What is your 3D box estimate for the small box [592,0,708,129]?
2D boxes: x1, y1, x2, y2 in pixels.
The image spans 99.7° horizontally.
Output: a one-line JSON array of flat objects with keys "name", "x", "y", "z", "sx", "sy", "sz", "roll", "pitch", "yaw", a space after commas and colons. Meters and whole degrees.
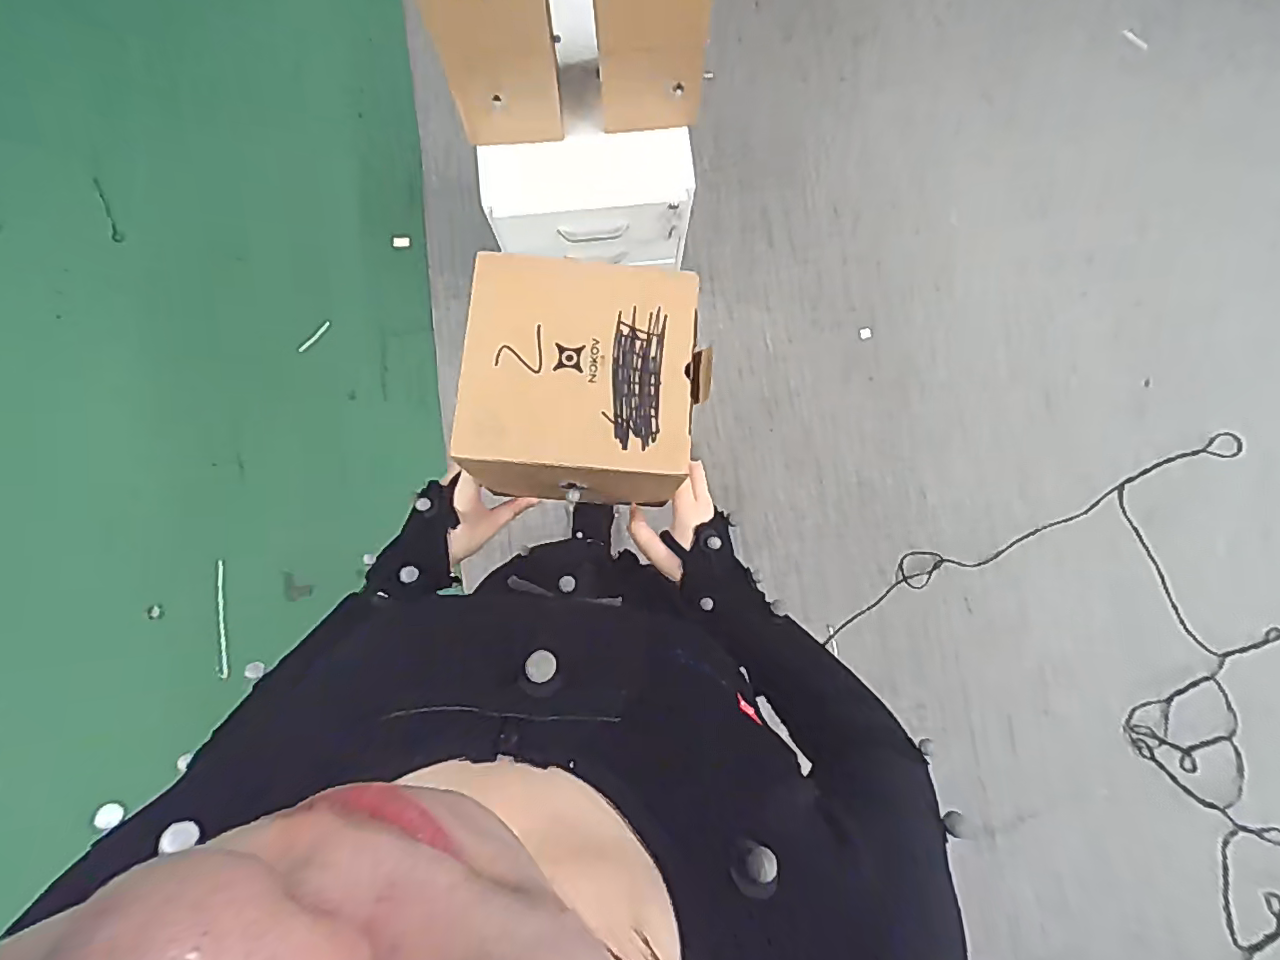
[{"name": "small box", "x": 0.013, "y": -0.741, "z": 0.928, "sx": 0.179, "sy": 0.176, "sz": 0.168, "roll": -6, "pitch": 84, "yaw": 0}]

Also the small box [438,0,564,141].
[{"name": "small box", "x": -0.231, "y": -0.709, "z": 0.917, "sx": 0.179, "sy": 0.176, "sz": 0.168, "roll": -6, "pitch": 85, "yaw": -2}]

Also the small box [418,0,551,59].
[{"name": "small box", "x": -0.227, "y": -0.731, "z": 0.754, "sx": 0.179, "sy": 0.176, "sz": 0.168, "roll": -6, "pitch": 84, "yaw": -4}]
